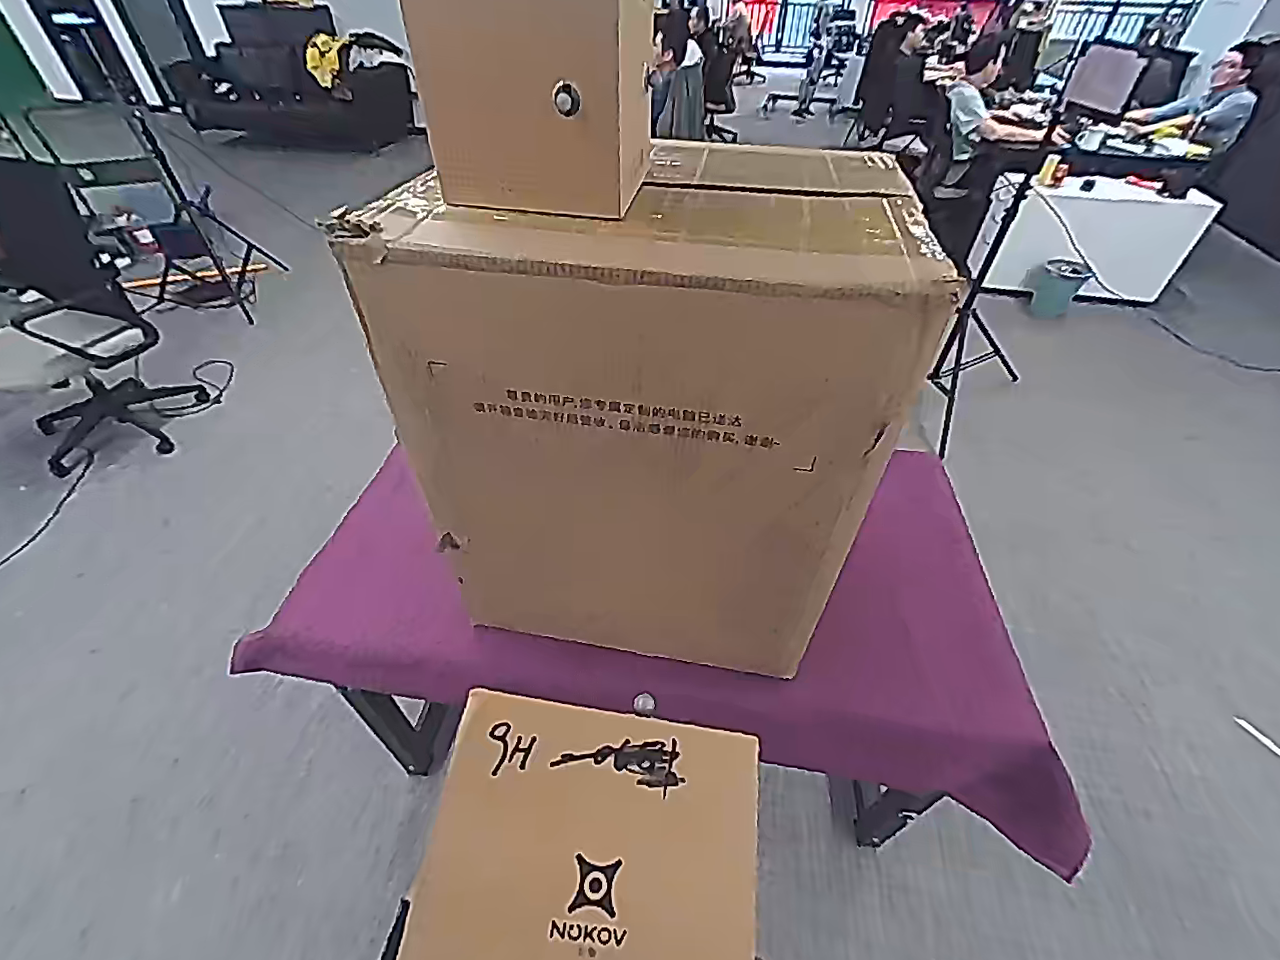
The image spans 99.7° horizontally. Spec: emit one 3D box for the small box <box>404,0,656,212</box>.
[{"bbox_3d":[-0.083,-0.363,0.502,0.179,0.176,0.168,7,44,7],"label":"small box"}]

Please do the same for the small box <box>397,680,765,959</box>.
[{"bbox_3d":[-0.035,0.234,0.325,0.168,0.176,0.179,12,61,-6],"label":"small box"}]
